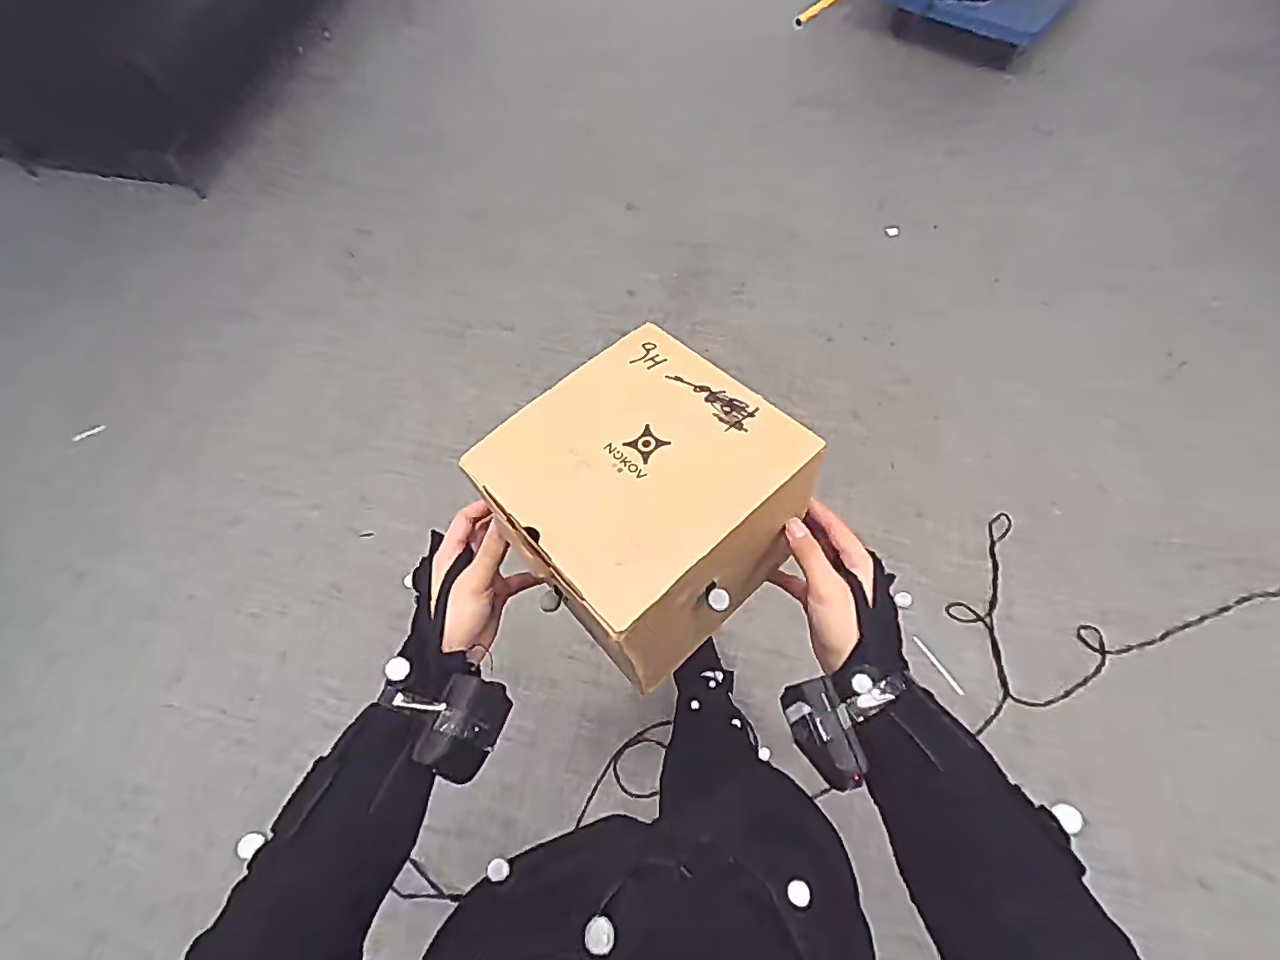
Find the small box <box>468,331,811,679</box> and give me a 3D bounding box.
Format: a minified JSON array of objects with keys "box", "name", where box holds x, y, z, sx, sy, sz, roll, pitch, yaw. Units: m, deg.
[{"box":[0.006,0.027,0.425,0.179,0.176,0.168,-40,62,-16],"name":"small box"}]
